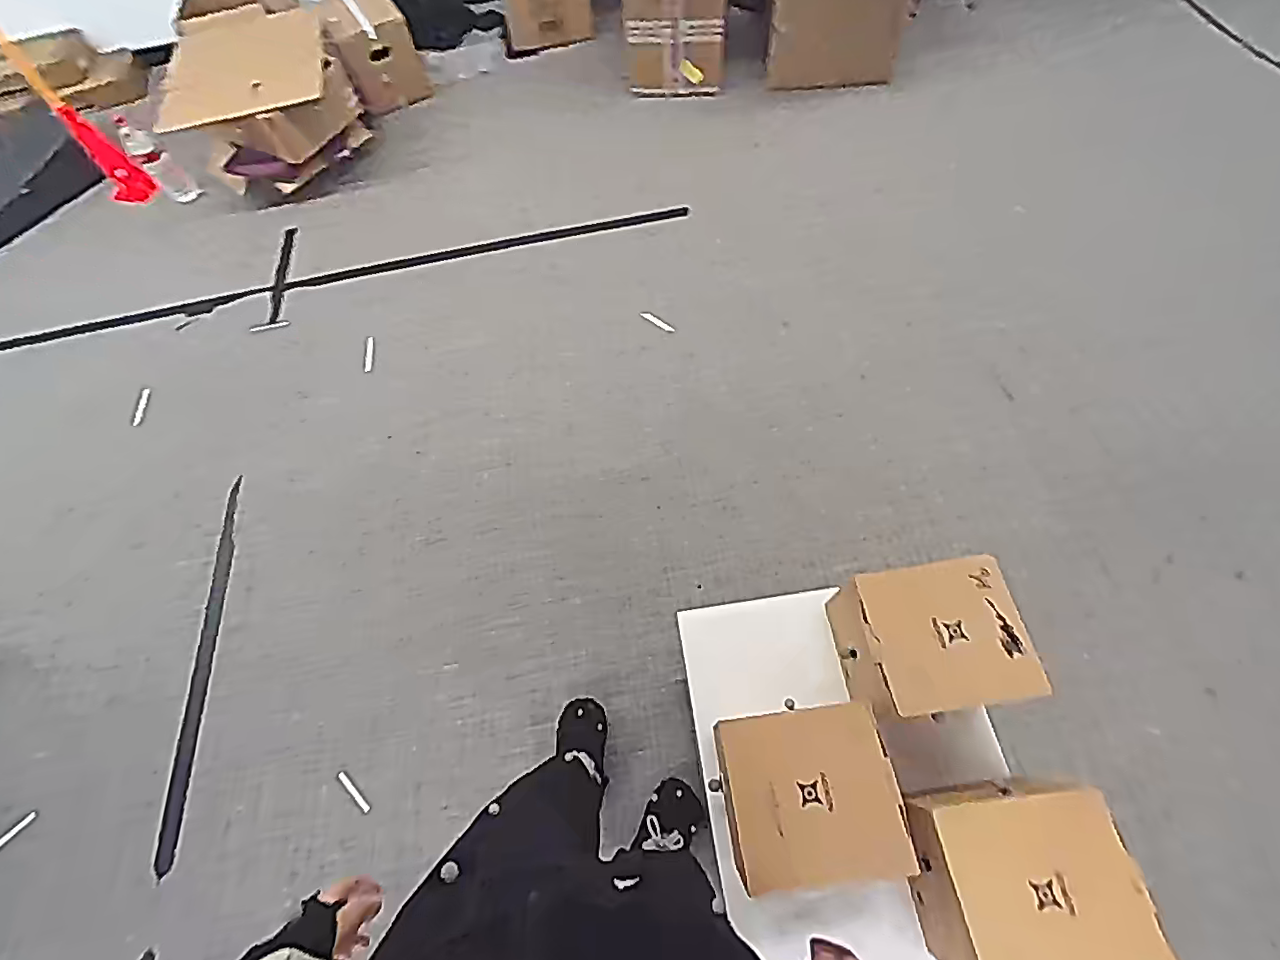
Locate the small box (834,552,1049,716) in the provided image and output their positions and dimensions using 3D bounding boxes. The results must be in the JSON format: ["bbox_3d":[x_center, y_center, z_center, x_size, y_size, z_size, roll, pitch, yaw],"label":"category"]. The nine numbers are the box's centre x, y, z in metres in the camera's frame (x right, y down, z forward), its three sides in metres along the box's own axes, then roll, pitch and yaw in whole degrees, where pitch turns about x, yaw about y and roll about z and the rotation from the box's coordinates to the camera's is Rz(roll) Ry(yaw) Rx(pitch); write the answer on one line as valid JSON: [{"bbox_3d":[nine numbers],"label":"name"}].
[{"bbox_3d":[0.366,0.208,0.705,0.179,0.176,0.168,-10,65,3],"label":"small box"}]

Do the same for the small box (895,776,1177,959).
[{"bbox_3d":[0.404,0.431,0.594,0.179,0.176,0.168,-9,63,1],"label":"small box"}]
